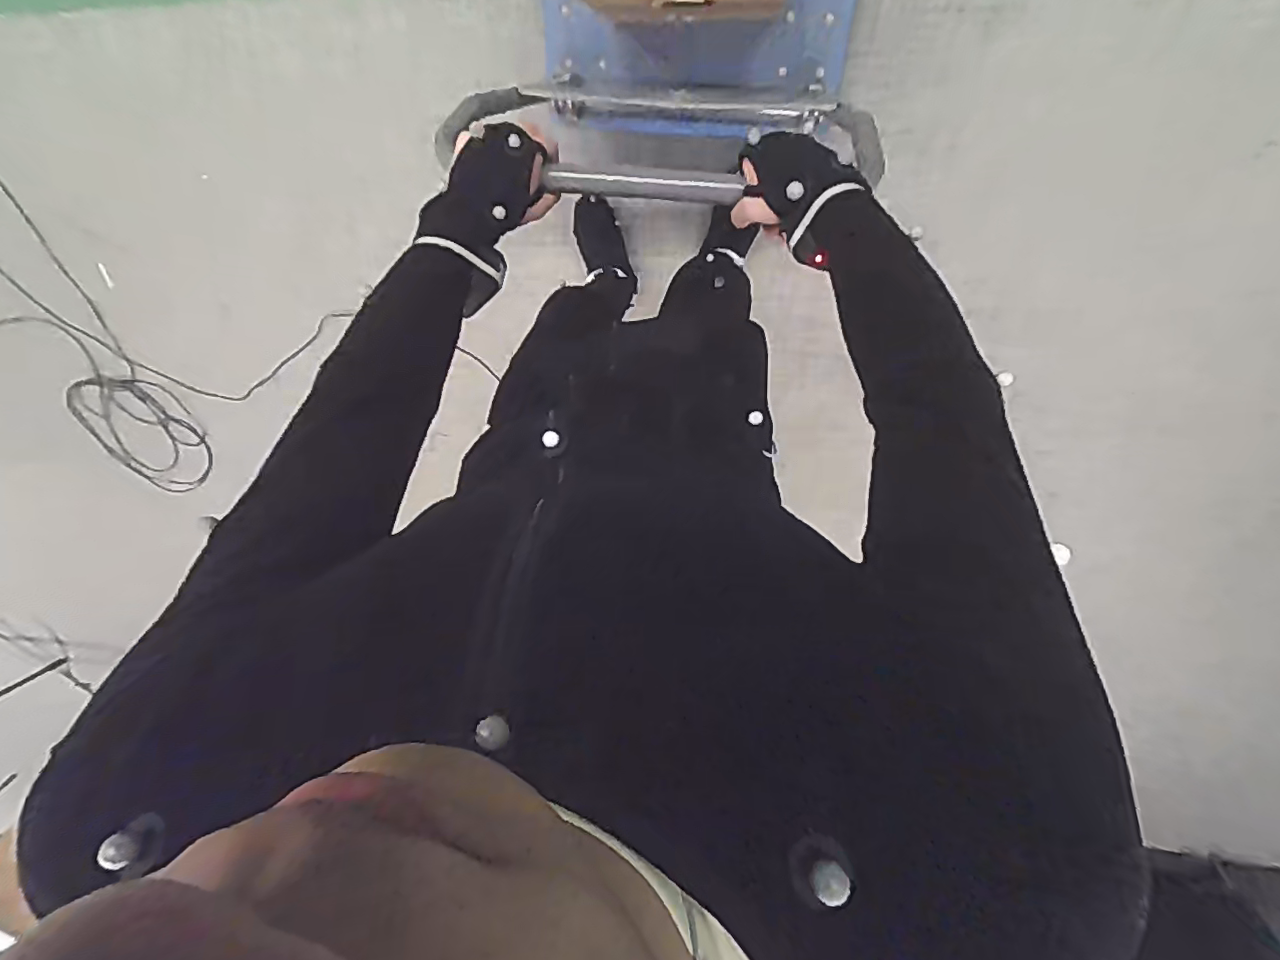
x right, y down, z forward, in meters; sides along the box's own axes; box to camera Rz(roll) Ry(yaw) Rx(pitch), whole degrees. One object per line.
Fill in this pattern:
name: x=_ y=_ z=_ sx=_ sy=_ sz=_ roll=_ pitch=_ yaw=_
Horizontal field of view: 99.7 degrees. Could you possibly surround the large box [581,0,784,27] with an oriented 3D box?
large box: x=0.077 y=-0.932 z=0.776 sx=0.320 sy=0.320 sz=0.408 roll=4 pitch=125 yaw=7
